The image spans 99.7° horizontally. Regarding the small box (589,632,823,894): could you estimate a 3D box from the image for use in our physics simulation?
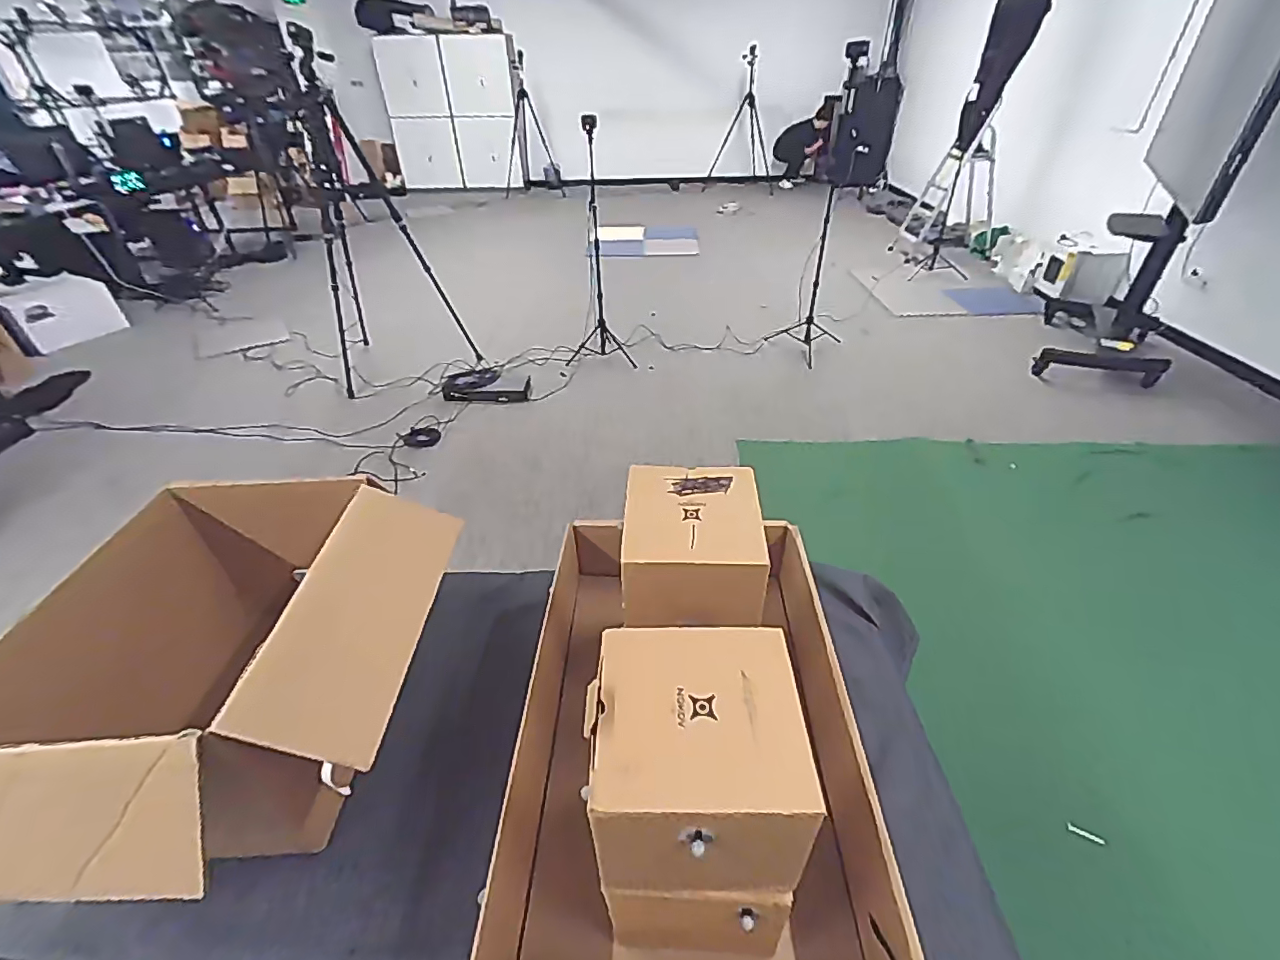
[{"bbox_3d":[0.052,0.262,0.506,0.179,0.176,0.168,0,37,1],"label":"small box"}]

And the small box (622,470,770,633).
[{"bbox_3d":[0.067,0.106,0.705,0.168,0.176,0.179,1,39,3],"label":"small box"}]
